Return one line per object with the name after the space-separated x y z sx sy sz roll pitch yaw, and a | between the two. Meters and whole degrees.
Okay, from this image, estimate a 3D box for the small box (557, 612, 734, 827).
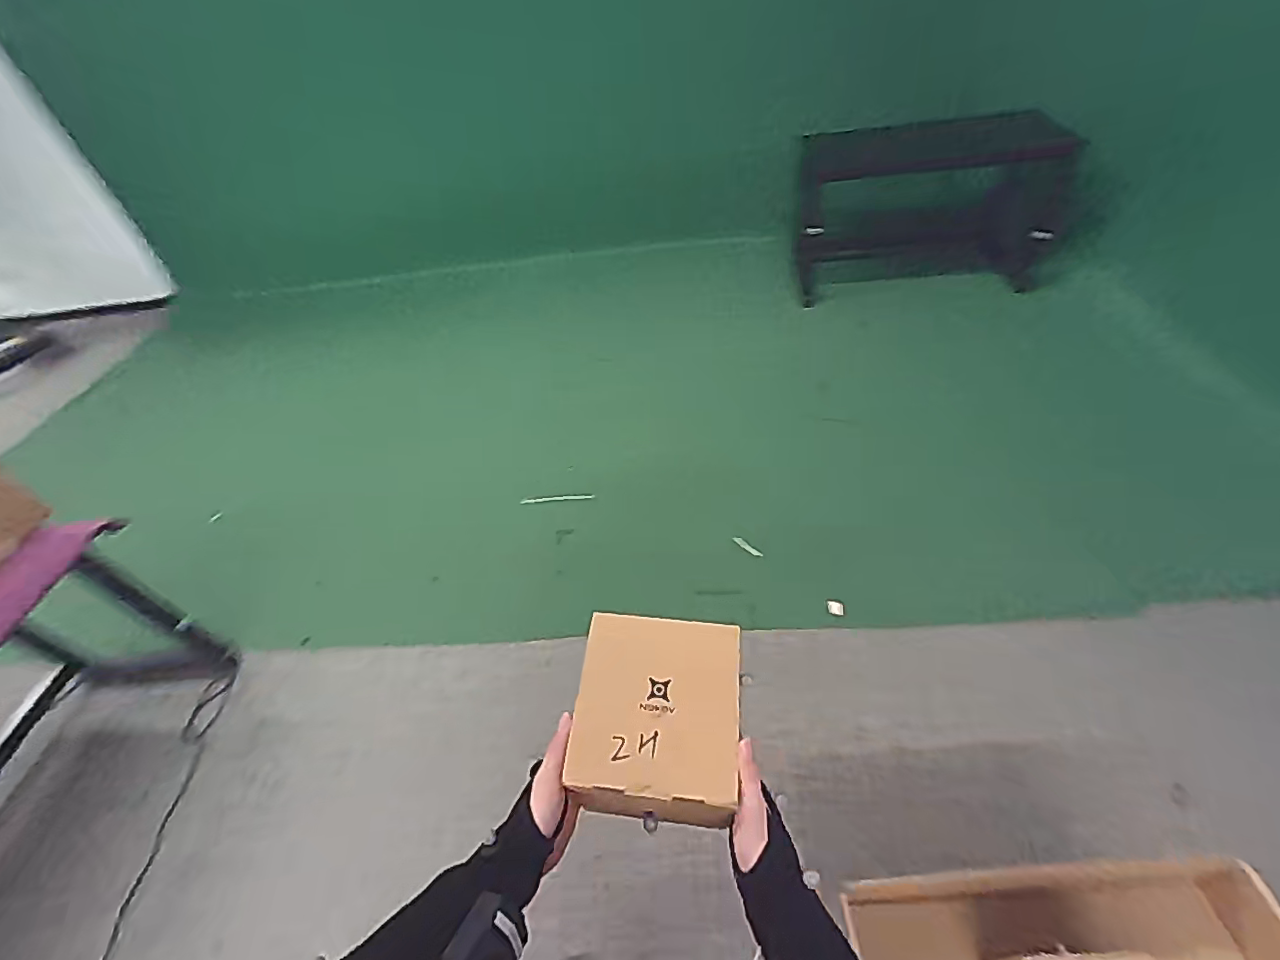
0.015 0.269 0.606 0.168 0.176 0.179 2 52 6 | small box

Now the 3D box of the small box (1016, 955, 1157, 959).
0.624 0.767 0.739 0.179 0.176 0.168 -4 45 3 | small box

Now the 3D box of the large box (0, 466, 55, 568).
-1.797 0.094 1.275 0.408 0.320 0.320 -3 47 6 | large box
